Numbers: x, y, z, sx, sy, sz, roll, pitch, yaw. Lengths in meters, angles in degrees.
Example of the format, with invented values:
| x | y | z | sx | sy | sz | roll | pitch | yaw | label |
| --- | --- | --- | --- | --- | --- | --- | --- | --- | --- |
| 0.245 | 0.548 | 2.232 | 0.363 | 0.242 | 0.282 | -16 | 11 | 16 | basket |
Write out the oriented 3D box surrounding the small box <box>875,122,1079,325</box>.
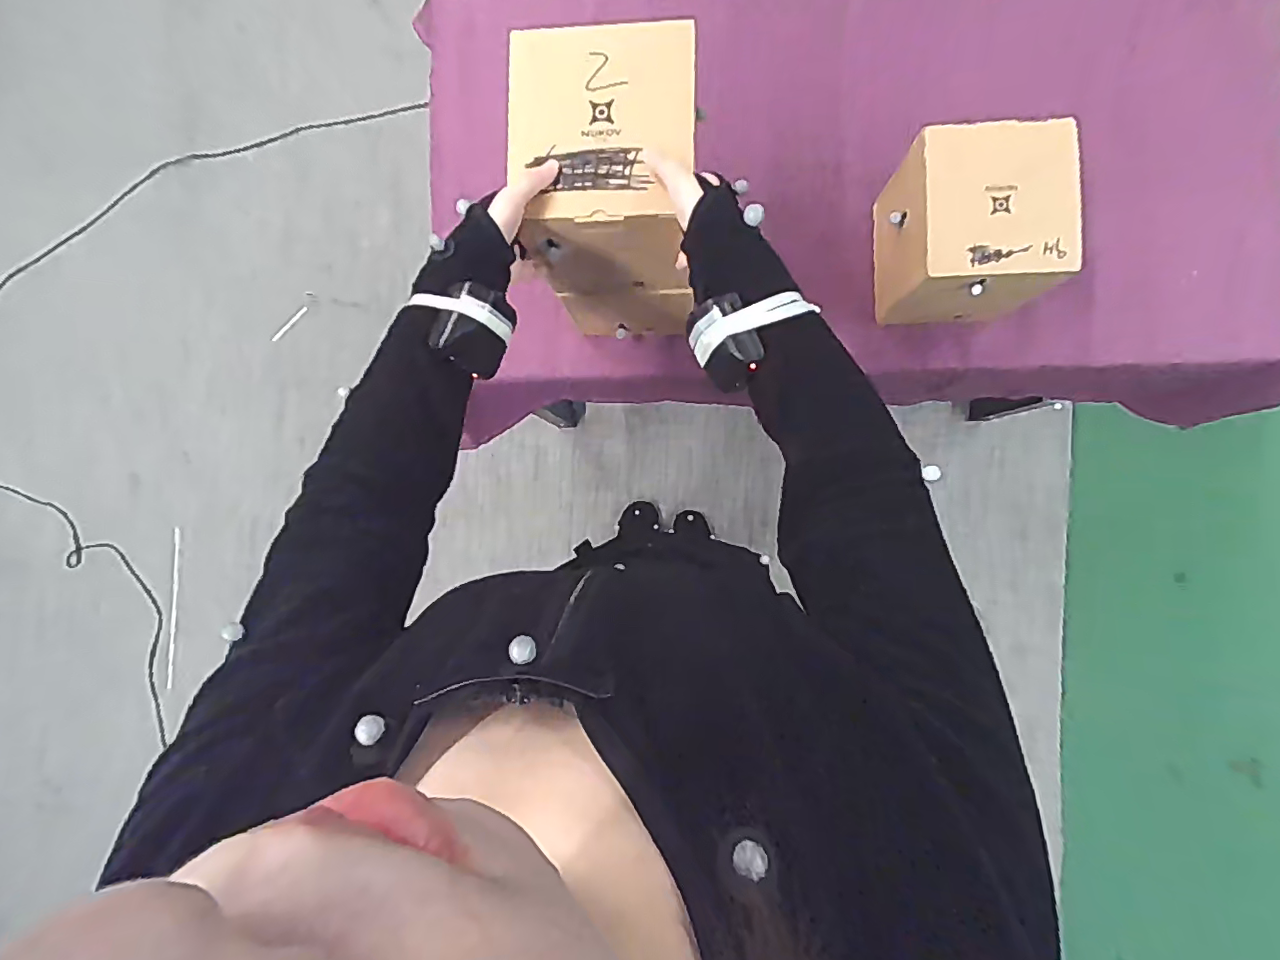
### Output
| x | y | z | sx | sy | sz | roll | pitch | yaw | label |
| --- | --- | --- | --- | --- | --- | --- | --- | --- | --- |
| 0.409 | -0.310 | 0.685 | 0.168 | 0.176 | 0.179 | 0 | 88 | 6 | small box |

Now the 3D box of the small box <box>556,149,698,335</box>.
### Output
| x | y | z | sx | sy | sz | roll | pitch | yaw | label |
| --- | --- | --- | --- | --- | --- | --- | --- | --- | --- |
| -0.010 | -0.304 | 0.719 | 0.168 | 0.176 | 0.179 | 1 | 90 | 5 | small box |
